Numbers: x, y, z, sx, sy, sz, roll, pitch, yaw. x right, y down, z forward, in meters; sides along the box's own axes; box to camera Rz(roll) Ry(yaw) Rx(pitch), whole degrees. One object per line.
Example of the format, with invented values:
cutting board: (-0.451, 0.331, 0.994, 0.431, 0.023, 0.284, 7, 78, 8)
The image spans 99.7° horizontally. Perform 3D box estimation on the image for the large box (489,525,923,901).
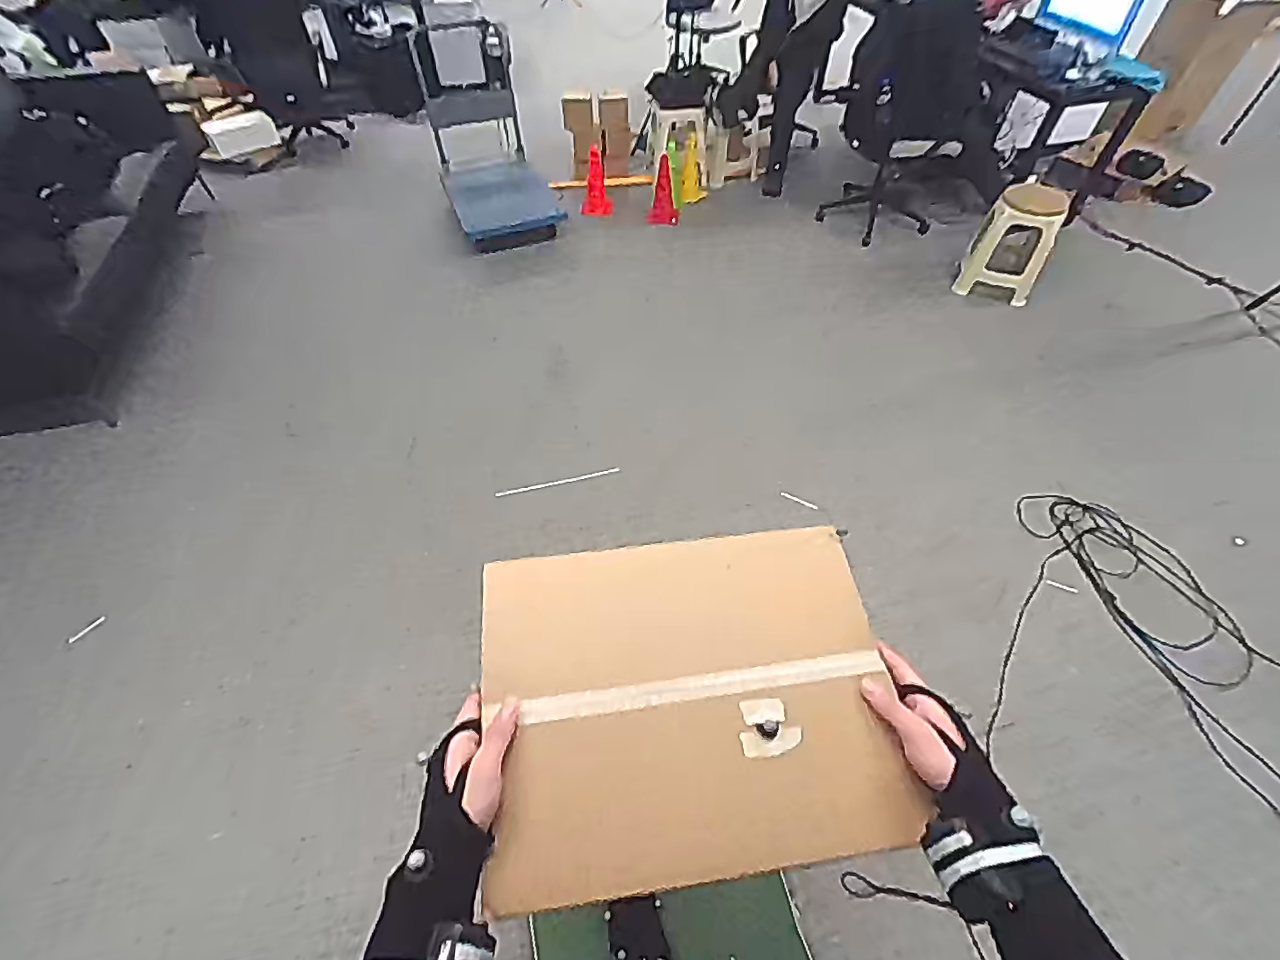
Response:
large box: (0.040, 0.280, 0.680, 0.408, 0.320, 0.320, -5, 61, -6)
